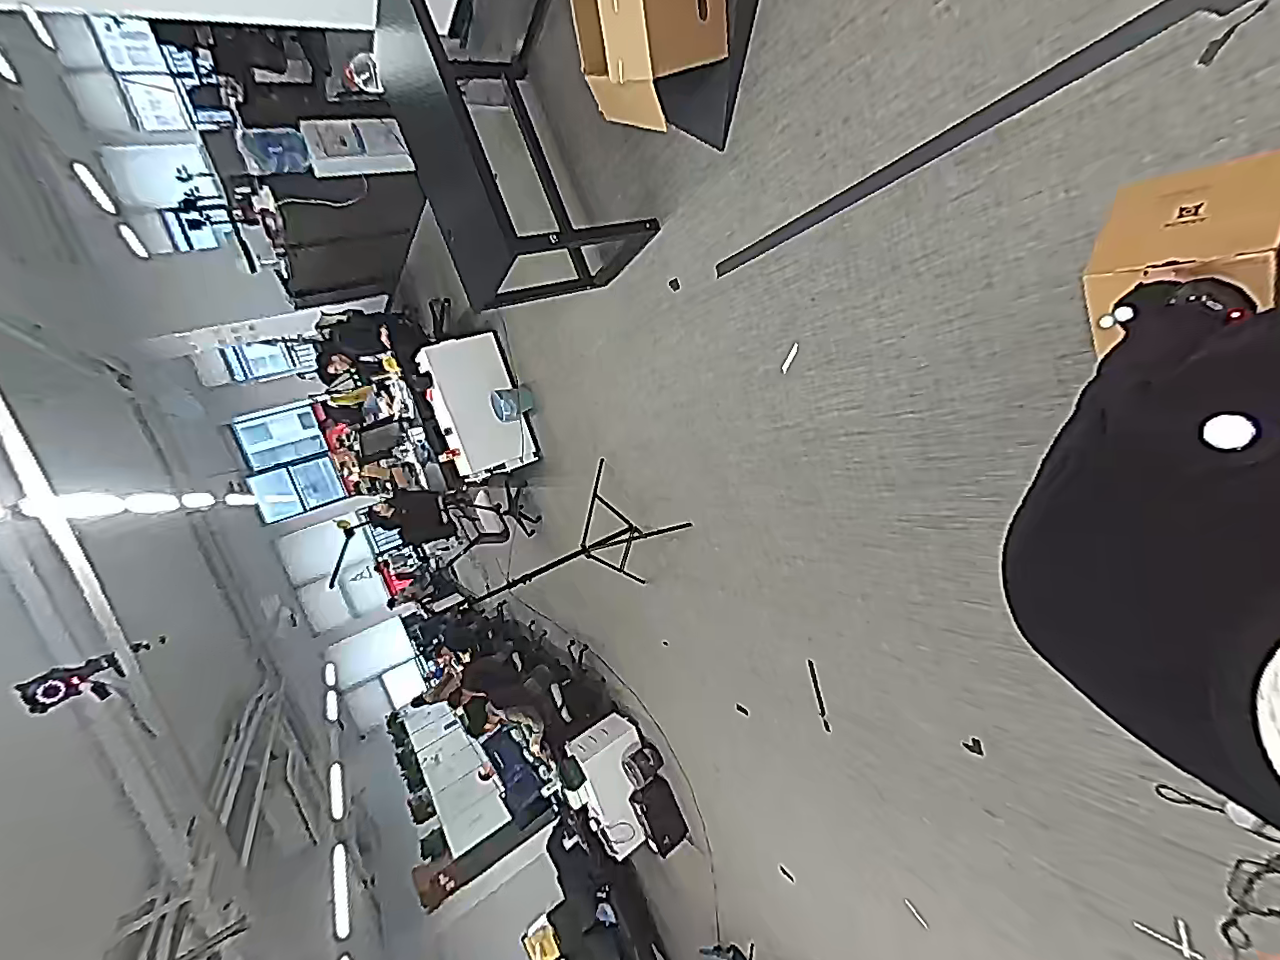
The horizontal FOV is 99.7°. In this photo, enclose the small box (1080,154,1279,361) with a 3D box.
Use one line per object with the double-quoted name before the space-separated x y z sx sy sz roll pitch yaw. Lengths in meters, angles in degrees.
"small box" 0.704 -0.268 0.694 0.168 0.179 0.176 14 156 52
